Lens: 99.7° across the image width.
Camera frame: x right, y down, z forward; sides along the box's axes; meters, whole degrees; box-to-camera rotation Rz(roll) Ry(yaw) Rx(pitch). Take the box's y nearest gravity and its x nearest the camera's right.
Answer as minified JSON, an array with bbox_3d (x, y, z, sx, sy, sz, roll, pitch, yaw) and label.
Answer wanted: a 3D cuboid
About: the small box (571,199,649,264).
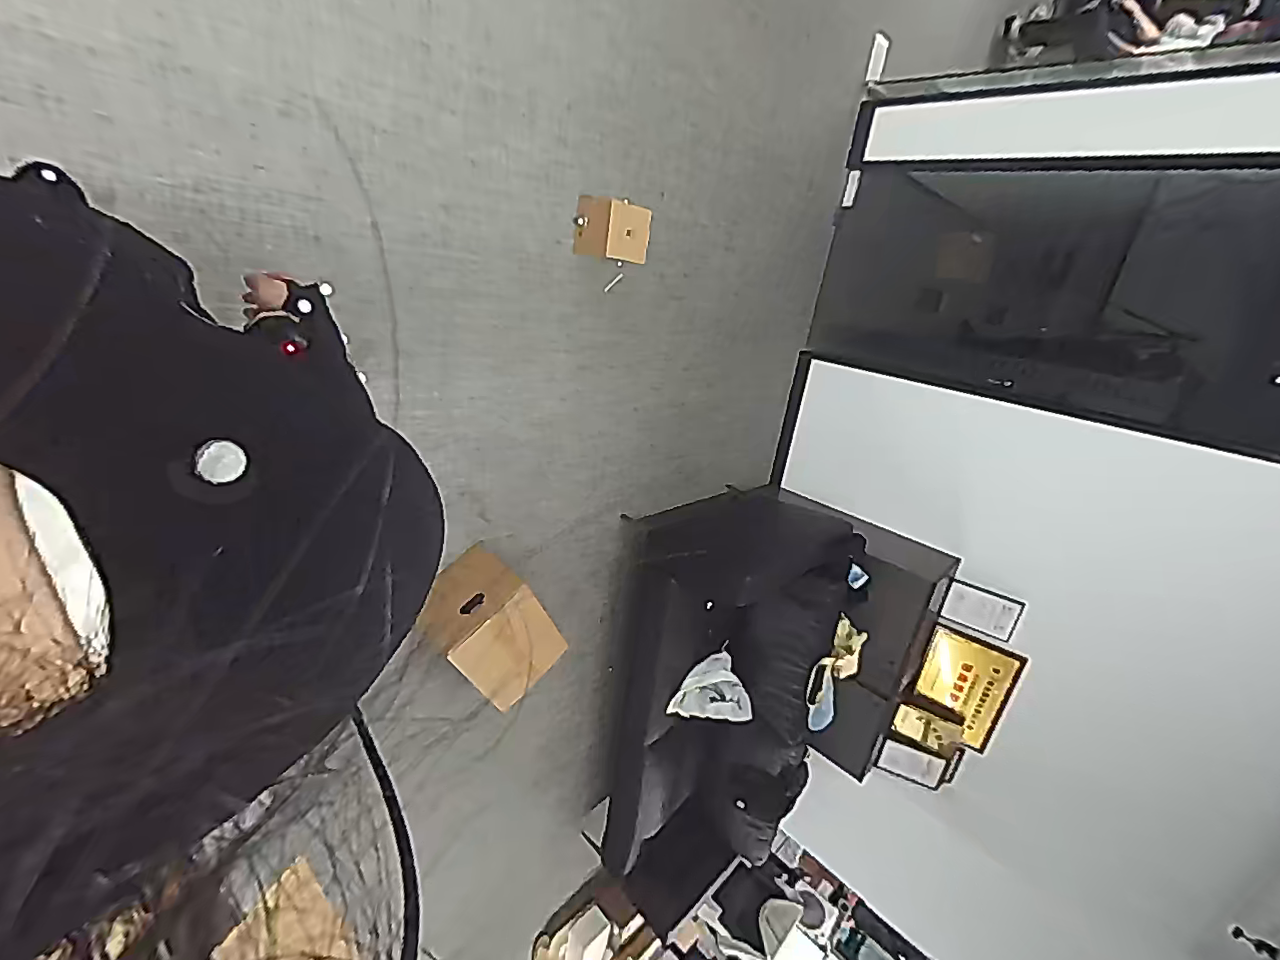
[{"bbox_3d":[-0.098,-0.806,1.751,0.179,0.176,0.168,-12,118,-44],"label":"small box"}]
